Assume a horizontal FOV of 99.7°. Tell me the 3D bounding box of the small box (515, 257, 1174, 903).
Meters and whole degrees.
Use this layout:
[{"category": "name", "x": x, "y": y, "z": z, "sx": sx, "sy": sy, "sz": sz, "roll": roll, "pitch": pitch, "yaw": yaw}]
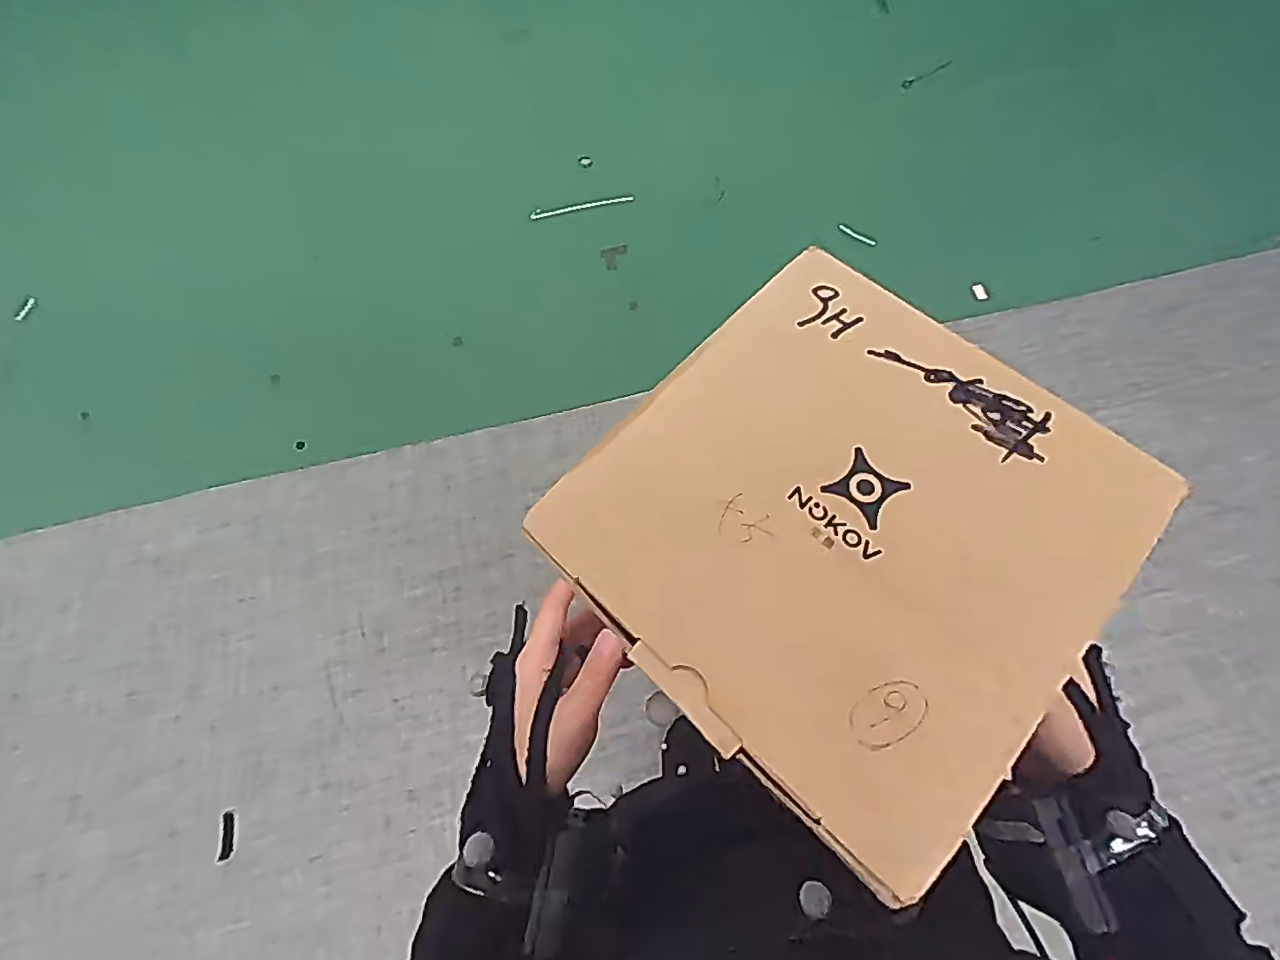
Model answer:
[{"category": "small box", "x": 0.075, "y": 0.041, "z": 0.267, "sx": 0.168, "sy": 0.176, "sz": 0.179, "roll": 41, "pitch": 77, "yaw": 17}]
